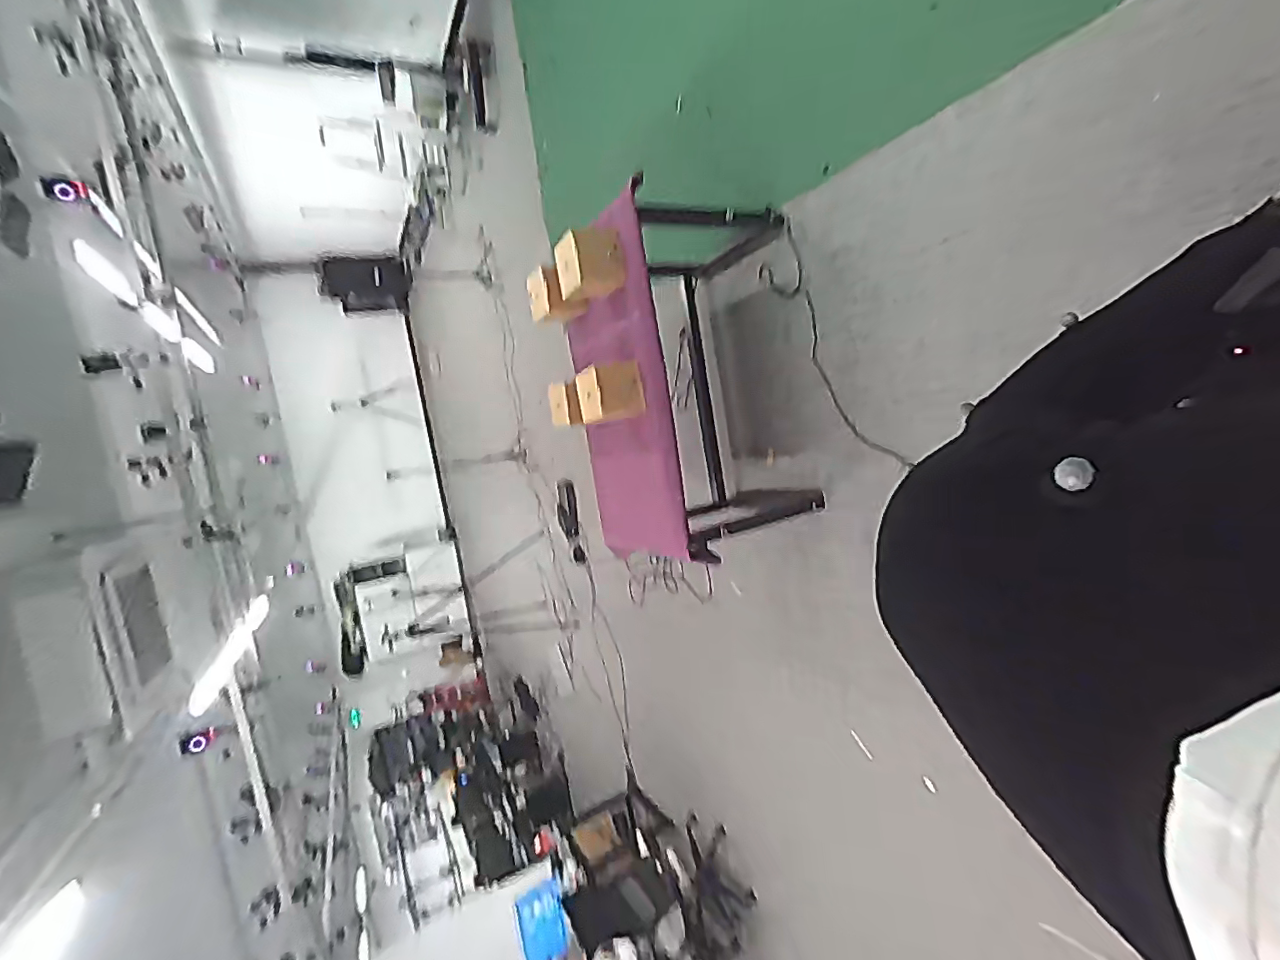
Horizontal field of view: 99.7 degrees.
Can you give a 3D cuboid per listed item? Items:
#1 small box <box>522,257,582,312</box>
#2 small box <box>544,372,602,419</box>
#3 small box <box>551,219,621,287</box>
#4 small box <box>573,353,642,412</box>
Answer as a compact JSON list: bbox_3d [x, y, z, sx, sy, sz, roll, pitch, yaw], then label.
[{"bbox_3d":[-0.334,-0.756,2.090,0.179,0.176,0.168,2,103,58],"label":"small box"},{"bbox_3d":[-0.257,-0.338,2.132,0.179,0.176,0.168,6,106,60],"label":"small box"},{"bbox_3d":[-0.181,-0.757,1.813,0.179,0.176,0.168,0,103,62],"label":"small box"},{"bbox_3d":[-0.112,-0.335,1.872,0.179,0.176,0.168,-5,97,62],"label":"small box"}]
